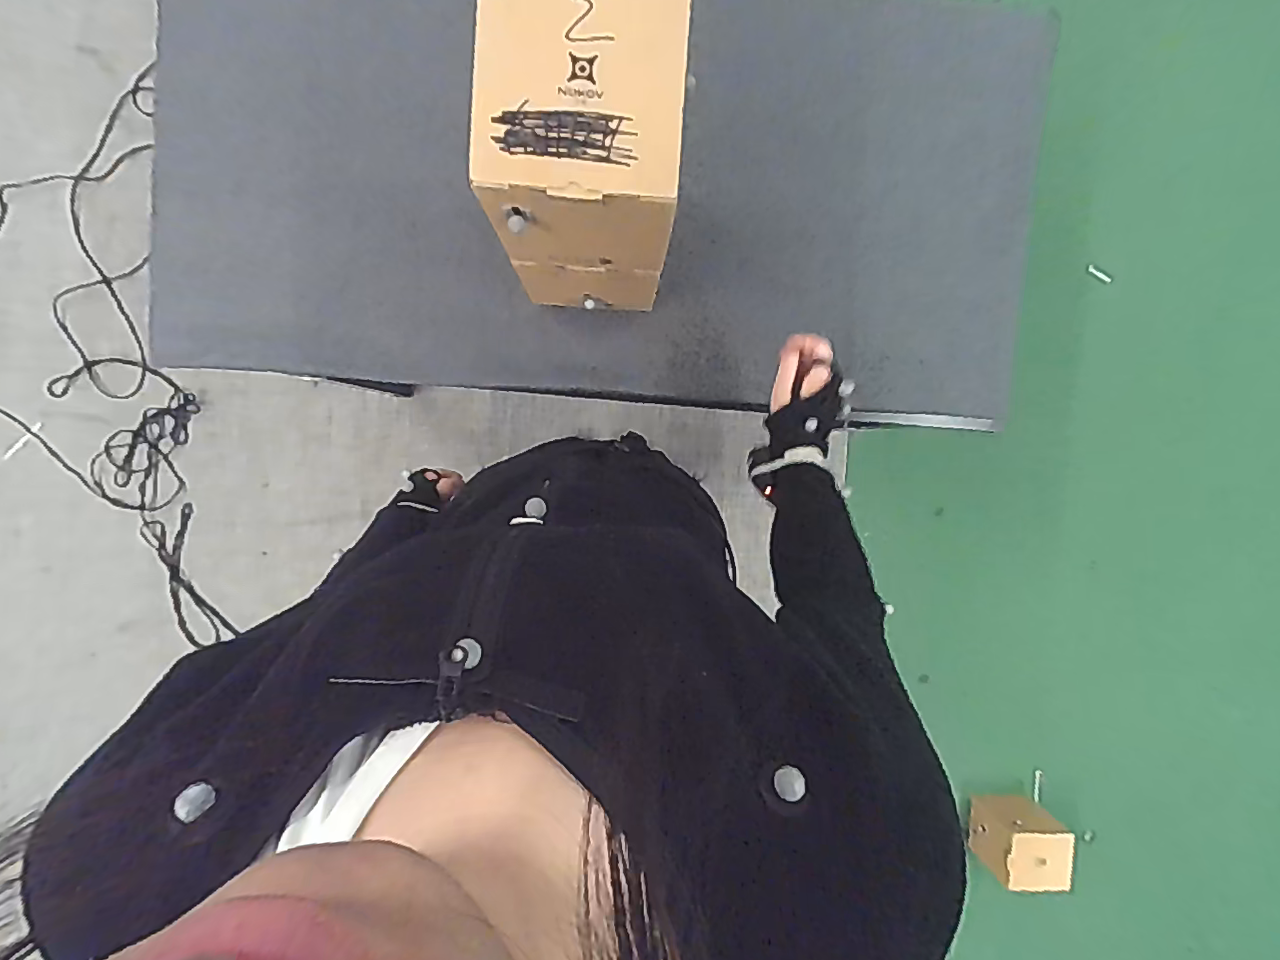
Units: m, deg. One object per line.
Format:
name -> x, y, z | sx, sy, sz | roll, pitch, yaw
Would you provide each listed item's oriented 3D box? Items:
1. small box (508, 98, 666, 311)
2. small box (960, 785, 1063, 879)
small box -> -0.063, -0.324, 0.669 | 0.168, 0.176, 0.179 | 3, 93, -3
small box -> 1.067, 1.010, 1.562 | 0.179, 0.176, 0.168 | 1, 94, -3
